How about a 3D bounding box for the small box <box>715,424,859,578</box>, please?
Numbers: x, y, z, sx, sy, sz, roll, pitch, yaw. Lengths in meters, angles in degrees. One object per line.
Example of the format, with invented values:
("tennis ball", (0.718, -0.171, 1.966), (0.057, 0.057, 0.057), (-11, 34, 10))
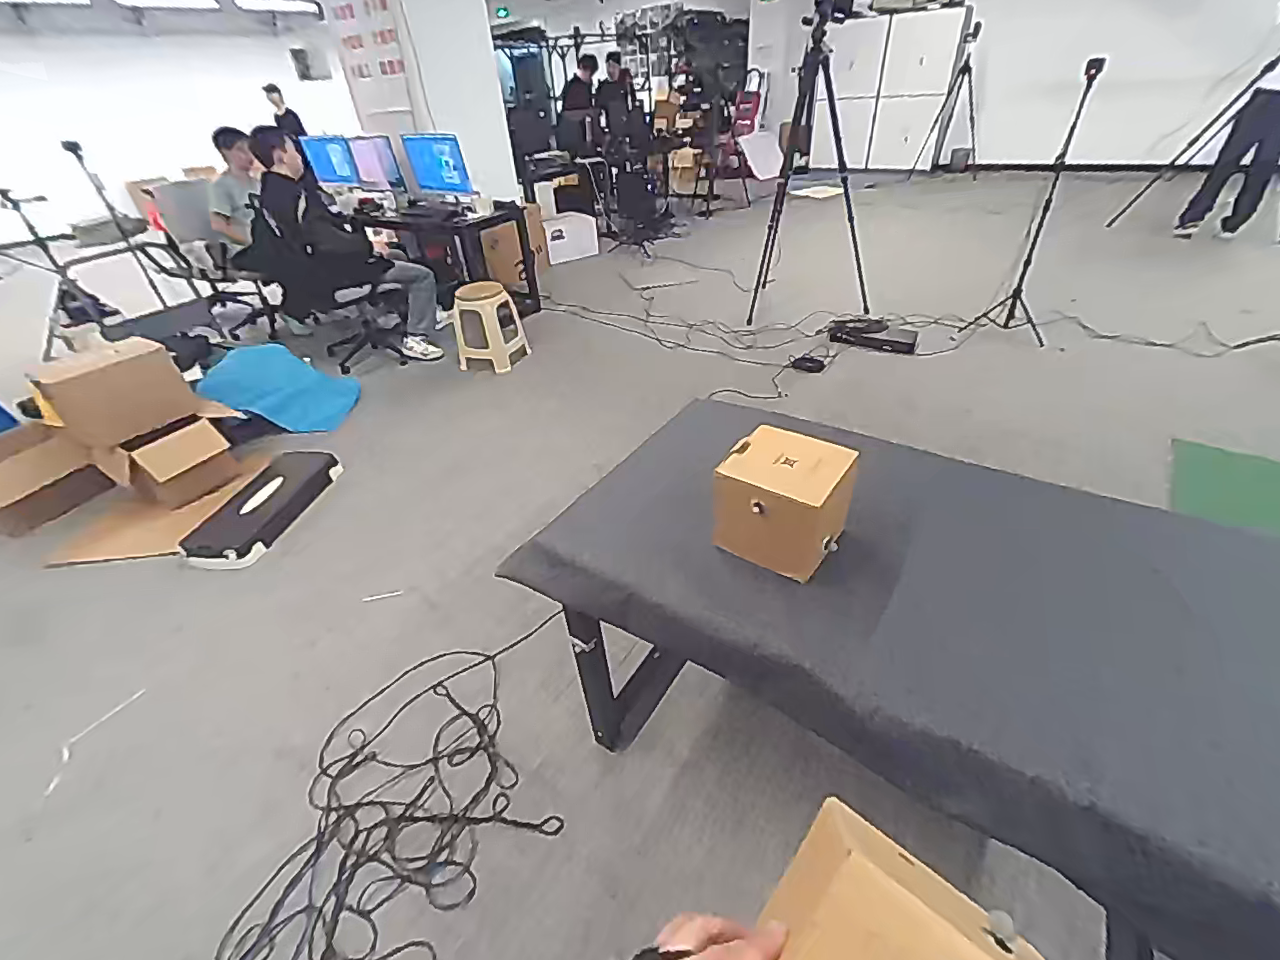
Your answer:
("small box", (0.238, 0.034, 0.906), (0.179, 0.176, 0.168), (22, 45, 30))
